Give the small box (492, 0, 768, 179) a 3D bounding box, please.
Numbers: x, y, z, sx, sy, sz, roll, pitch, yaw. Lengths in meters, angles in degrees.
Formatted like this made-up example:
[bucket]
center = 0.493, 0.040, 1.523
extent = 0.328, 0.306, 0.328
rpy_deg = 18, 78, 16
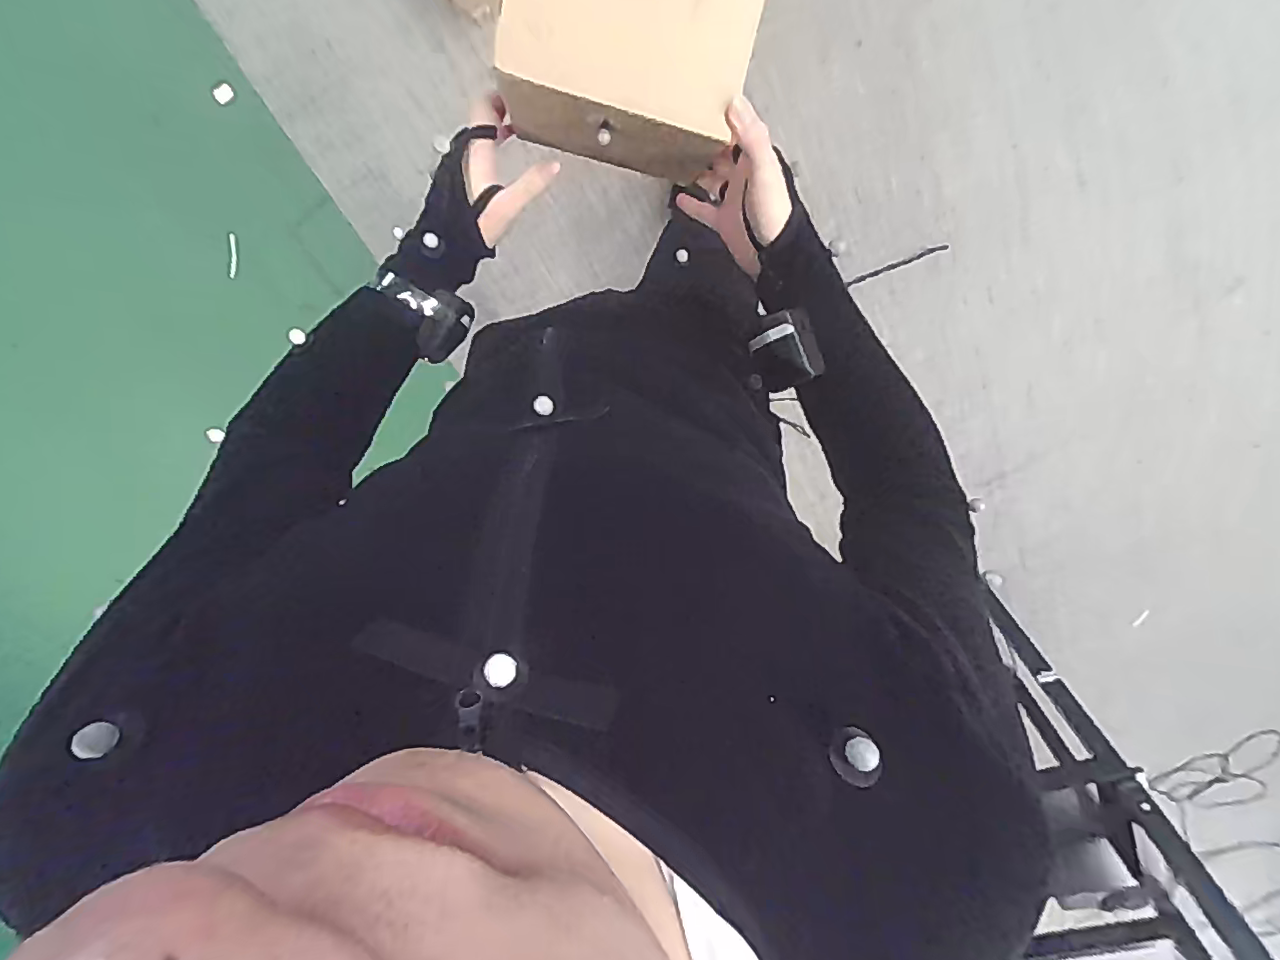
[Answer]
[small box]
center = -0.005, -0.362, 0.430
extent = 0.179, 0.176, 0.168
rpy_deg = 11, 107, -10
